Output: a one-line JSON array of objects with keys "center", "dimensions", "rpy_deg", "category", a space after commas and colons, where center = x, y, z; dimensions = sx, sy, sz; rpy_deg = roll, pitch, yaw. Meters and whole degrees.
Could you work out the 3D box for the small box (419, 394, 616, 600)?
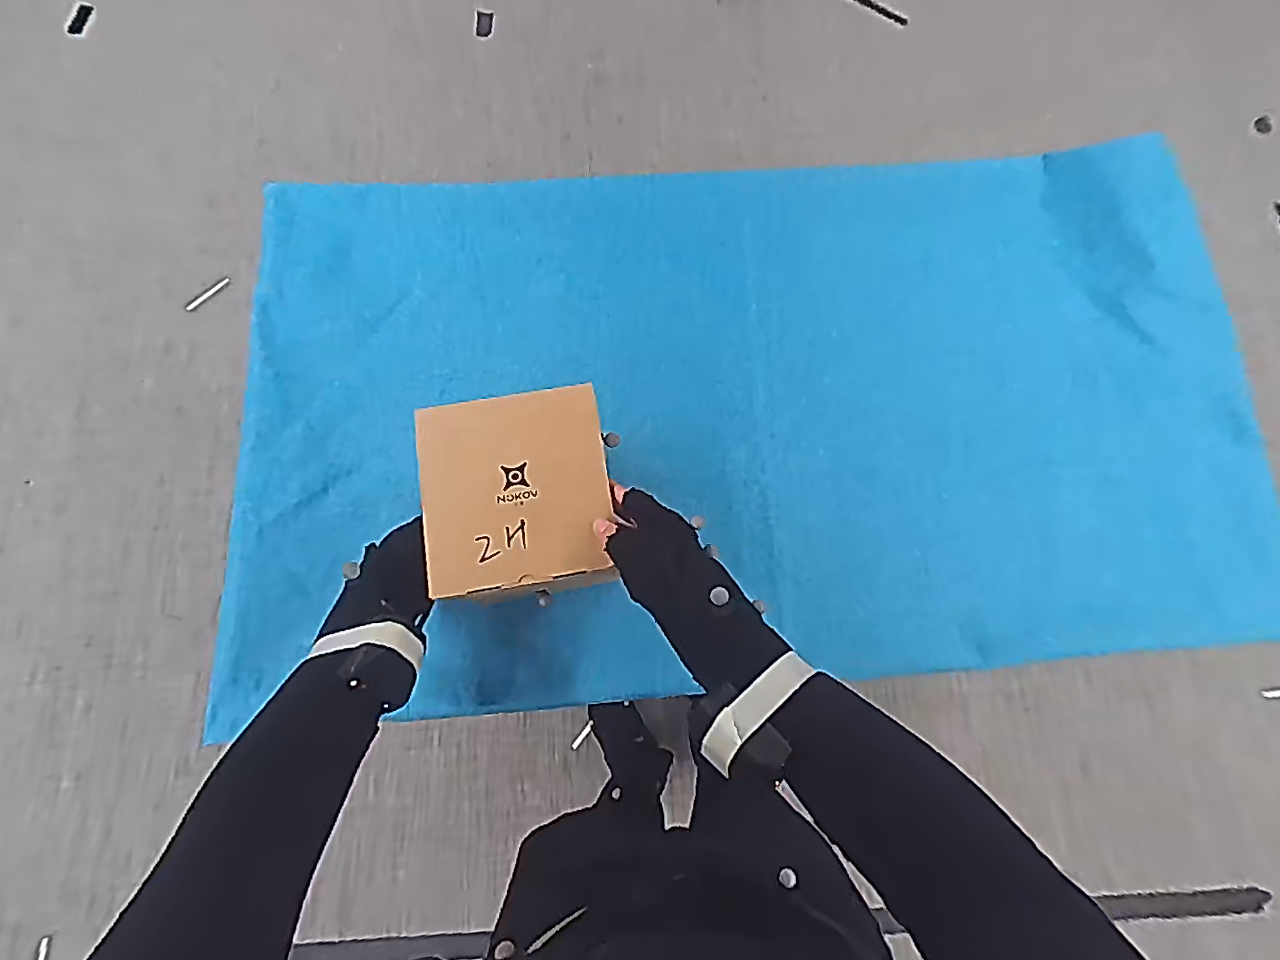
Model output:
[{"center": [-0.114, 0.028, 0.557], "dimensions": [0.168, 0.176, 0.179], "rpy_deg": [-6, 79, -1], "category": "small box"}]
